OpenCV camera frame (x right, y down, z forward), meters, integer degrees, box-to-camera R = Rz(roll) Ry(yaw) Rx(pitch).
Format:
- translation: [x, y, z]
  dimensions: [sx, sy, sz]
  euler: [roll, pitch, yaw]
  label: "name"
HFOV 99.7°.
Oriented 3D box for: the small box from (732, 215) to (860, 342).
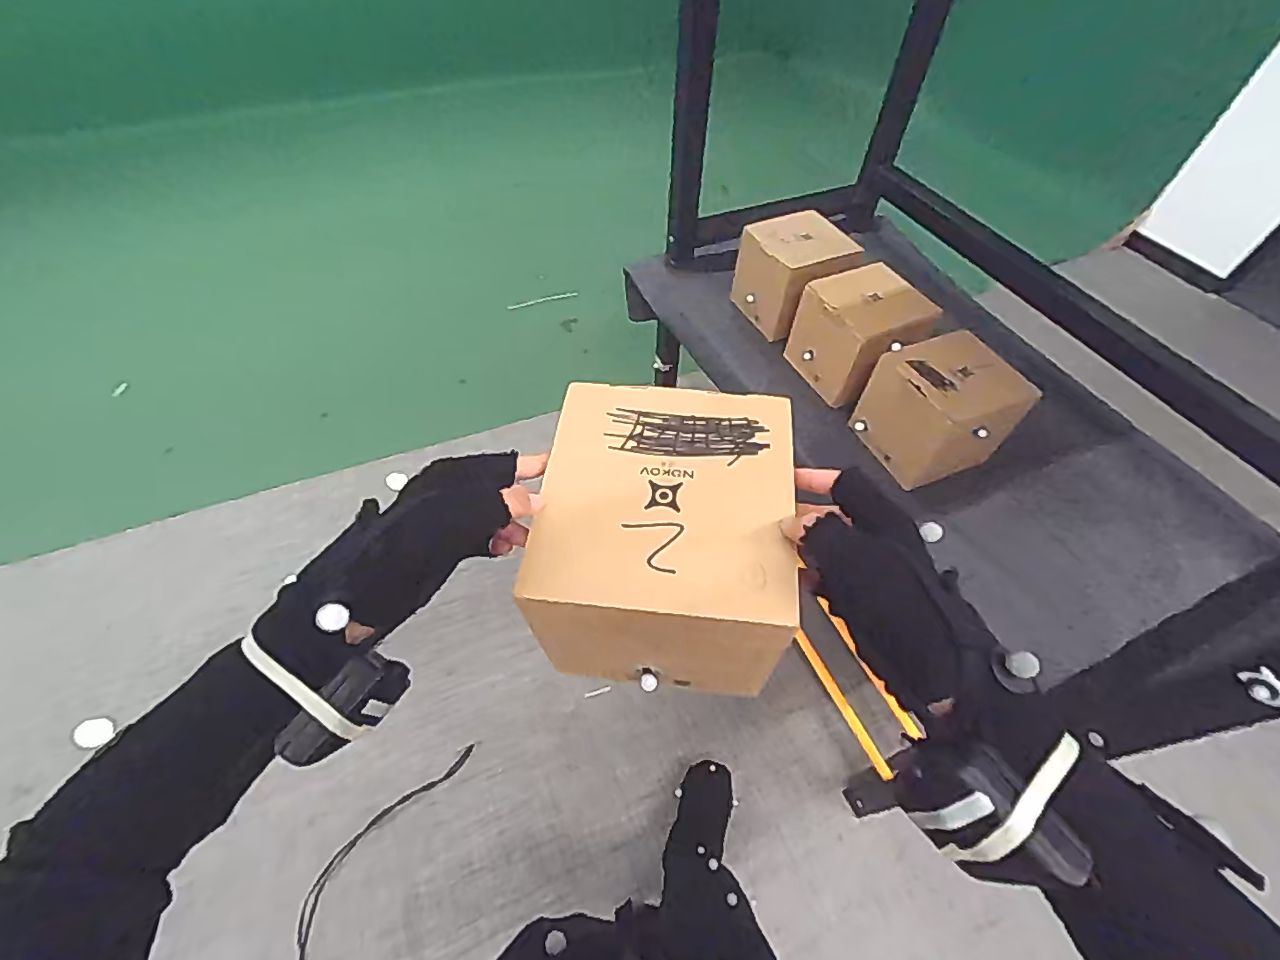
- translation: [0.312, -0.417, 1.124]
  dimensions: [0.179, 0.176, 0.168]
  euler: [-20, 56, -16]
  label: "small box"
